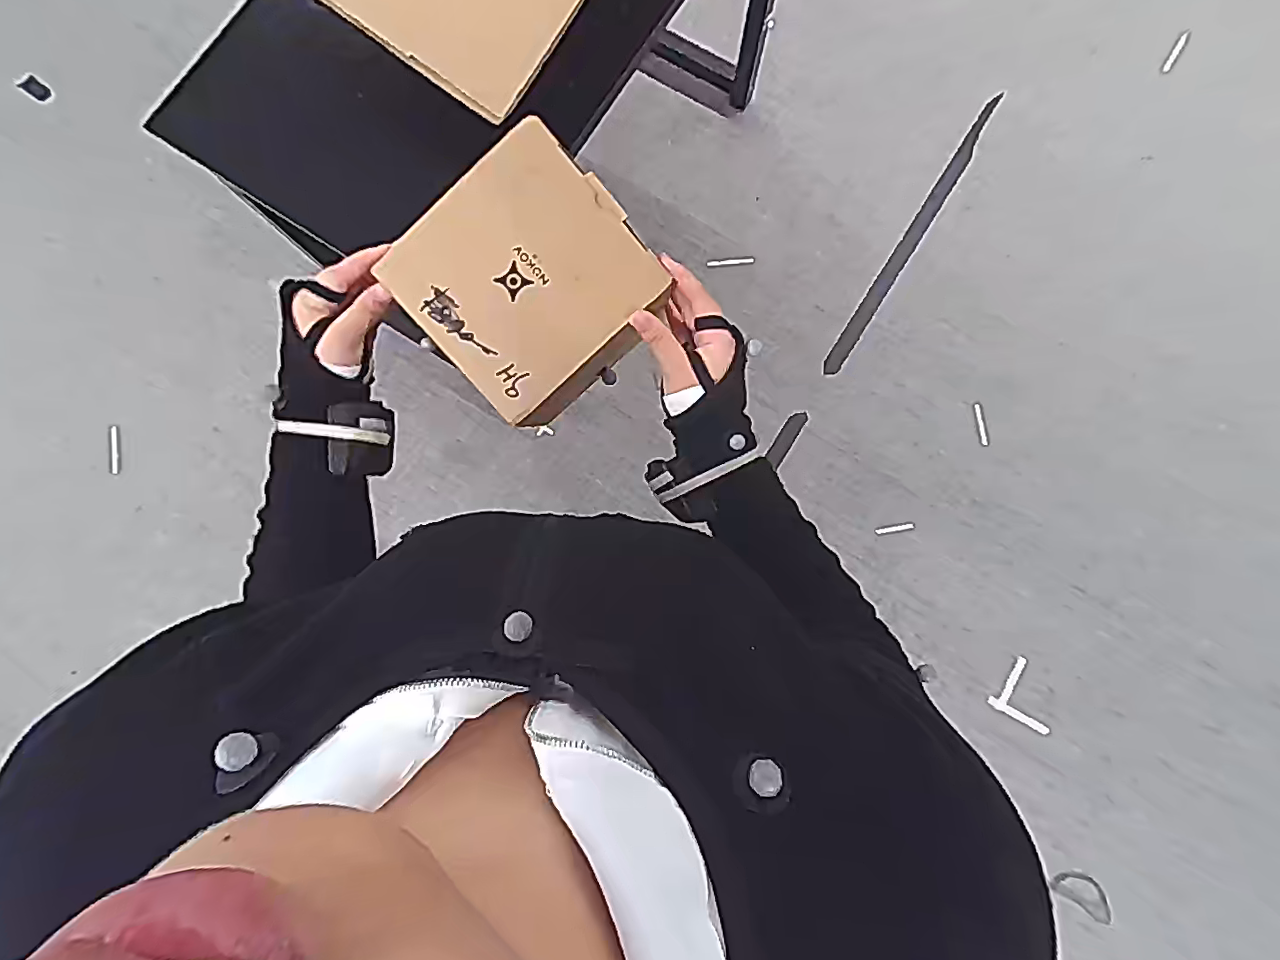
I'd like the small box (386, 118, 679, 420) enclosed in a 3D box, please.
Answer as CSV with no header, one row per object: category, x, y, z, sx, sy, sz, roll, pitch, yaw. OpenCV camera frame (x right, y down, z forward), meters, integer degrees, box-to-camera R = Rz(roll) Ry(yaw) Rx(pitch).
small box,-0.087,-0.173,0.507,0.179,0.176,0.168,-42,94,3
